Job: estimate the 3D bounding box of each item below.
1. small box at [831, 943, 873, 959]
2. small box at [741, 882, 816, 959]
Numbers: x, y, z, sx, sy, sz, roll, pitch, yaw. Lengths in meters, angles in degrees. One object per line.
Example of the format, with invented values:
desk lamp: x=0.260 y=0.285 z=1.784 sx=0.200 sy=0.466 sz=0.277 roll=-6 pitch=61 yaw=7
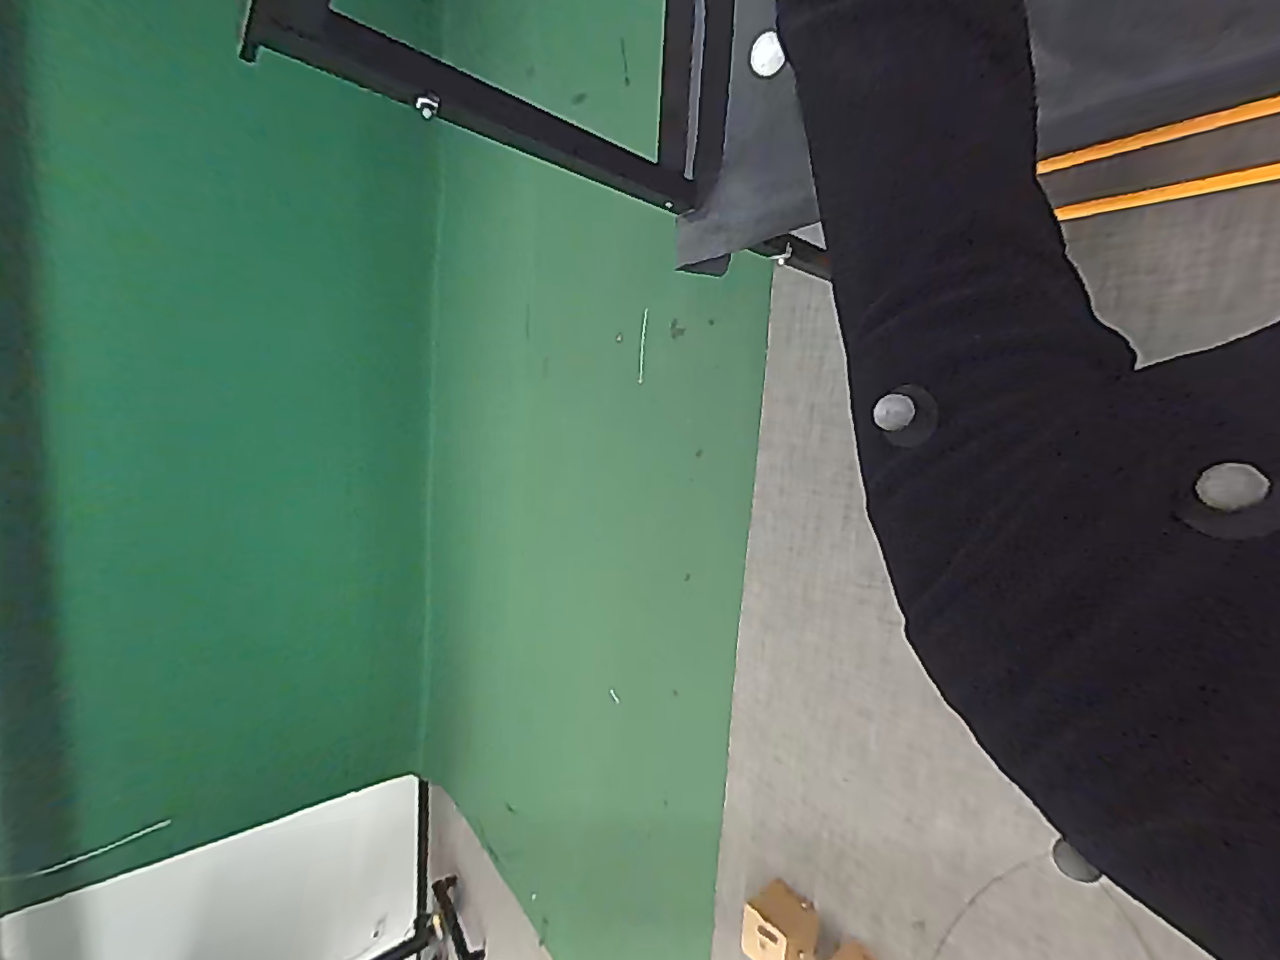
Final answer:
small box: x=0.620 y=1.498 z=1.543 sx=0.168 sy=0.176 sz=0.179 roll=14 pitch=101 yaw=49
small box: x=0.449 y=1.462 z=1.747 sx=0.168 sy=0.176 sz=0.179 roll=9 pitch=98 yaw=50
